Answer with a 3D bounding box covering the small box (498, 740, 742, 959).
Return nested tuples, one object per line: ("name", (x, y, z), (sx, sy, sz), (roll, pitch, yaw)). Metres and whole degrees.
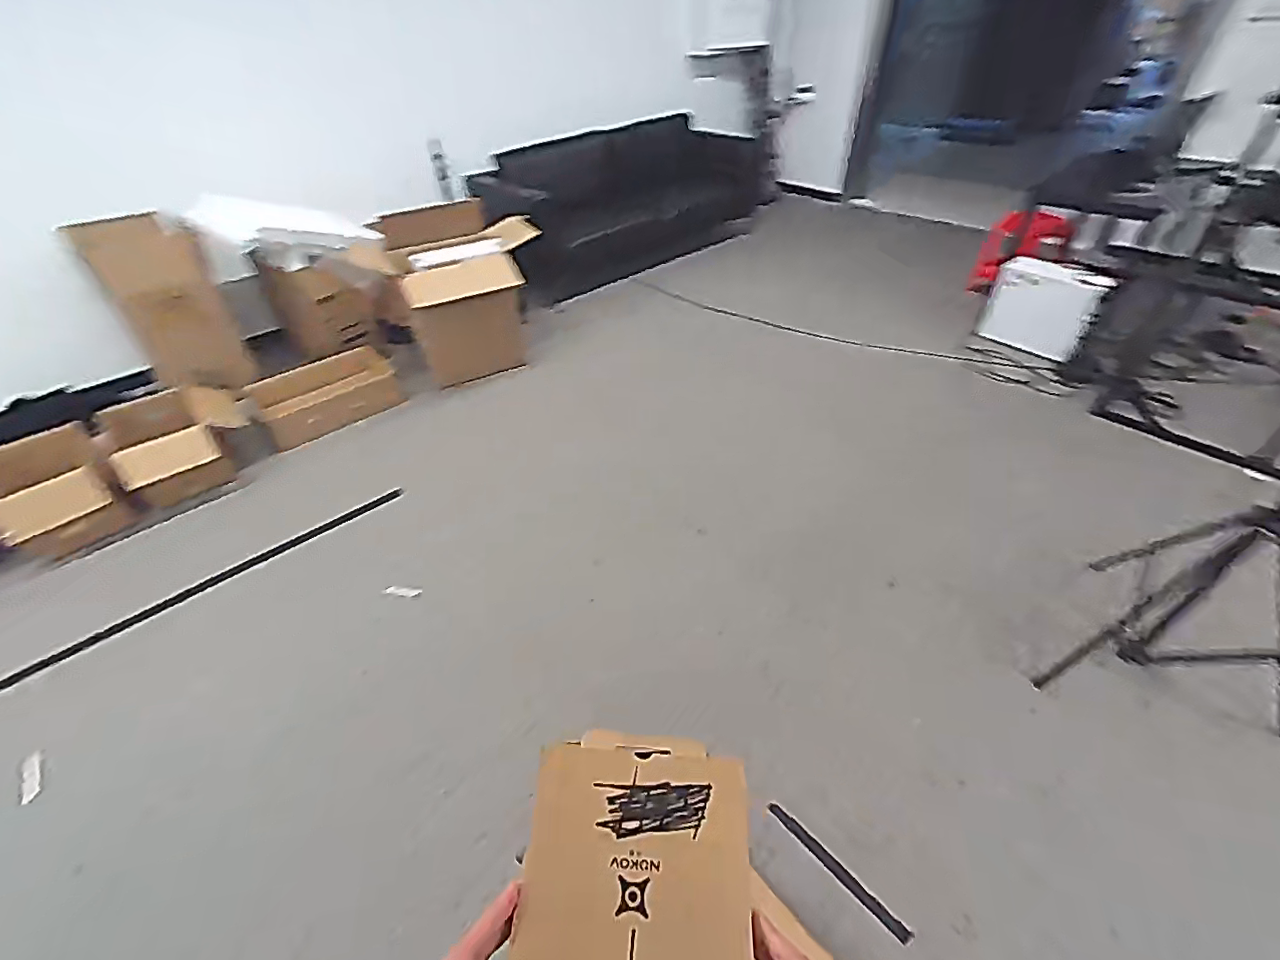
("small box", (-0.014, 0.336, 0.450), (0.168, 0.176, 0.179), (3, 51, 0))
